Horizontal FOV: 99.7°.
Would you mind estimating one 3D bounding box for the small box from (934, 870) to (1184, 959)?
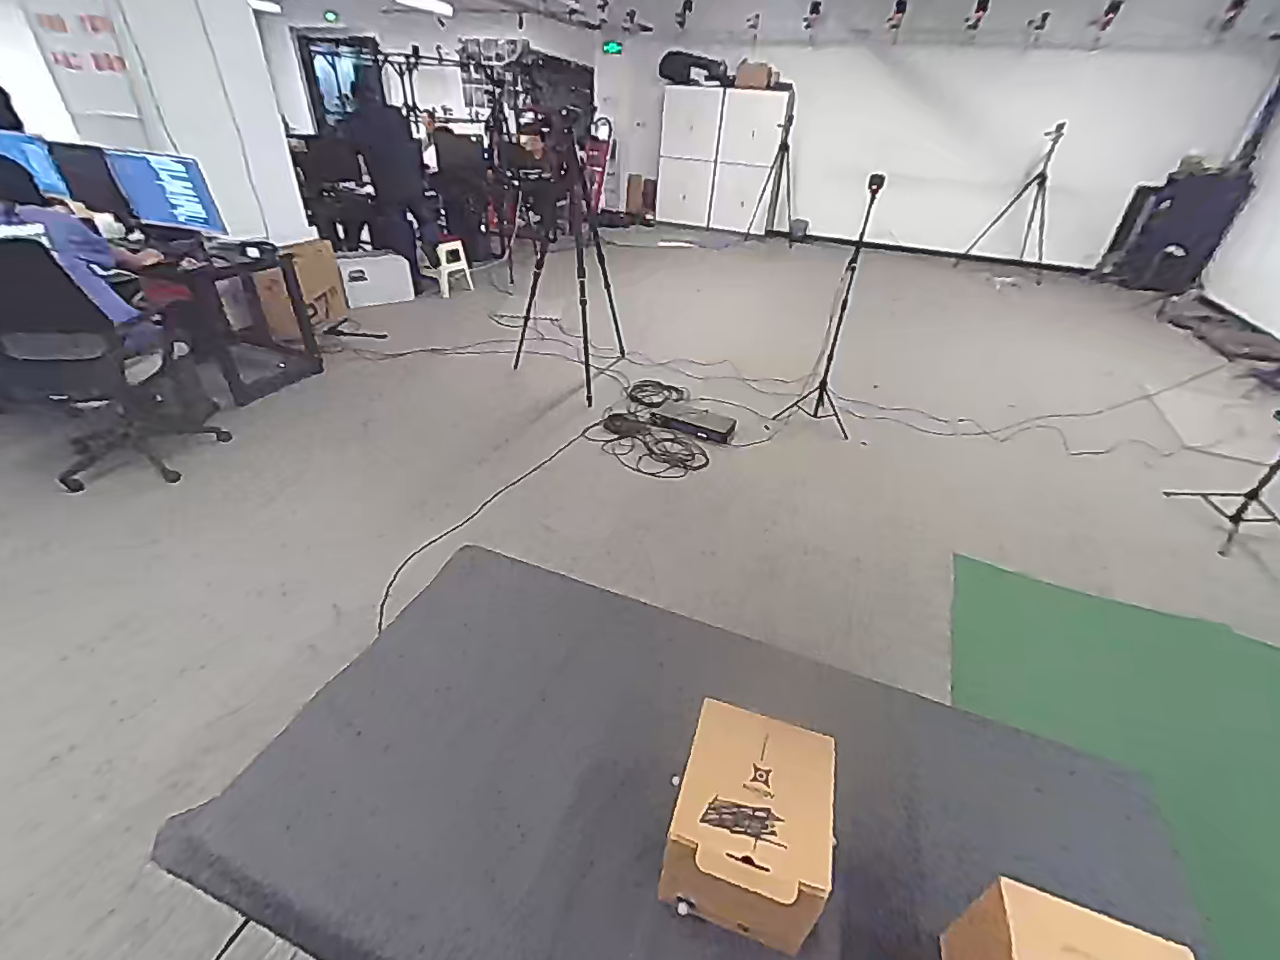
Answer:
[{"bbox_3d":[0.399,0.529,0.511,0.168,0.176,0.179,15,34,14],"label":"small box"}]

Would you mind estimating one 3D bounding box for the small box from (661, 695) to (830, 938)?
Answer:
[{"bbox_3d":[0.127,0.407,0.661,0.168,0.176,0.179,13,34,13],"label":"small box"}]
